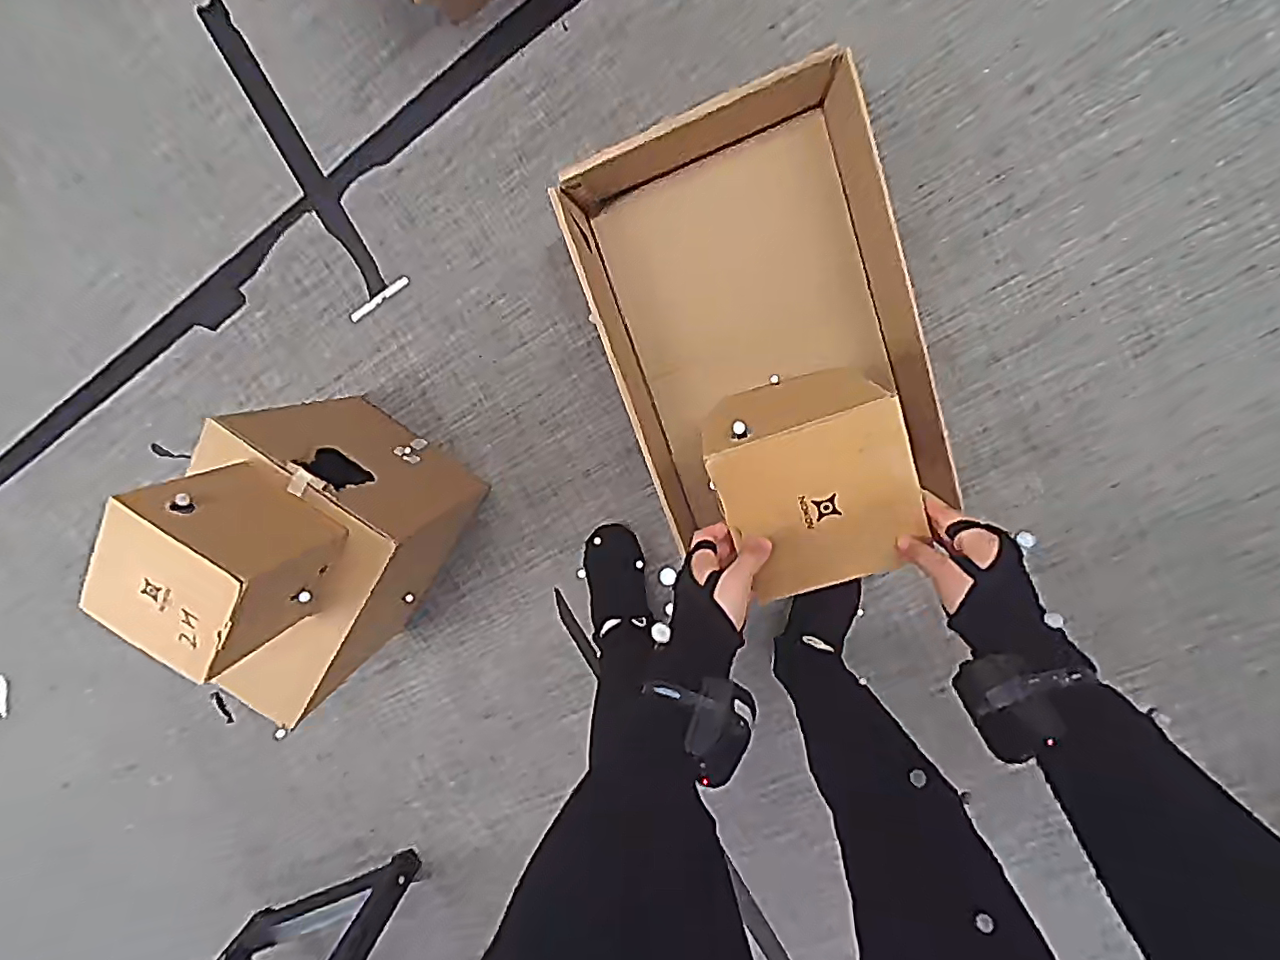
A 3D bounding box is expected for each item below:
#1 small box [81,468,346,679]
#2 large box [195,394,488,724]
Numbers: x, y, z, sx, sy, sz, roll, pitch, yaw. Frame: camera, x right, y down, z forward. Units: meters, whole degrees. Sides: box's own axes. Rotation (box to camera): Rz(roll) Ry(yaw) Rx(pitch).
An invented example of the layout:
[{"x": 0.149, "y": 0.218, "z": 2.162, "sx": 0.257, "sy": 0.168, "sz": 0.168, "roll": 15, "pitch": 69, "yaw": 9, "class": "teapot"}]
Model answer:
[{"x": -0.519, "y": 0.101, "z": 0.678, "sx": 0.179, "sy": 0.176, "sz": 0.168, "roll": 33, "pitch": 108, "yaw": -1, "class": "small box"}, {"x": -0.533, "y": 0.111, "z": 0.940, "sx": 0.320, "sy": 0.320, "sz": 0.408, "roll": 34, "pitch": 108, "yaw": 0, "class": "large box"}]
